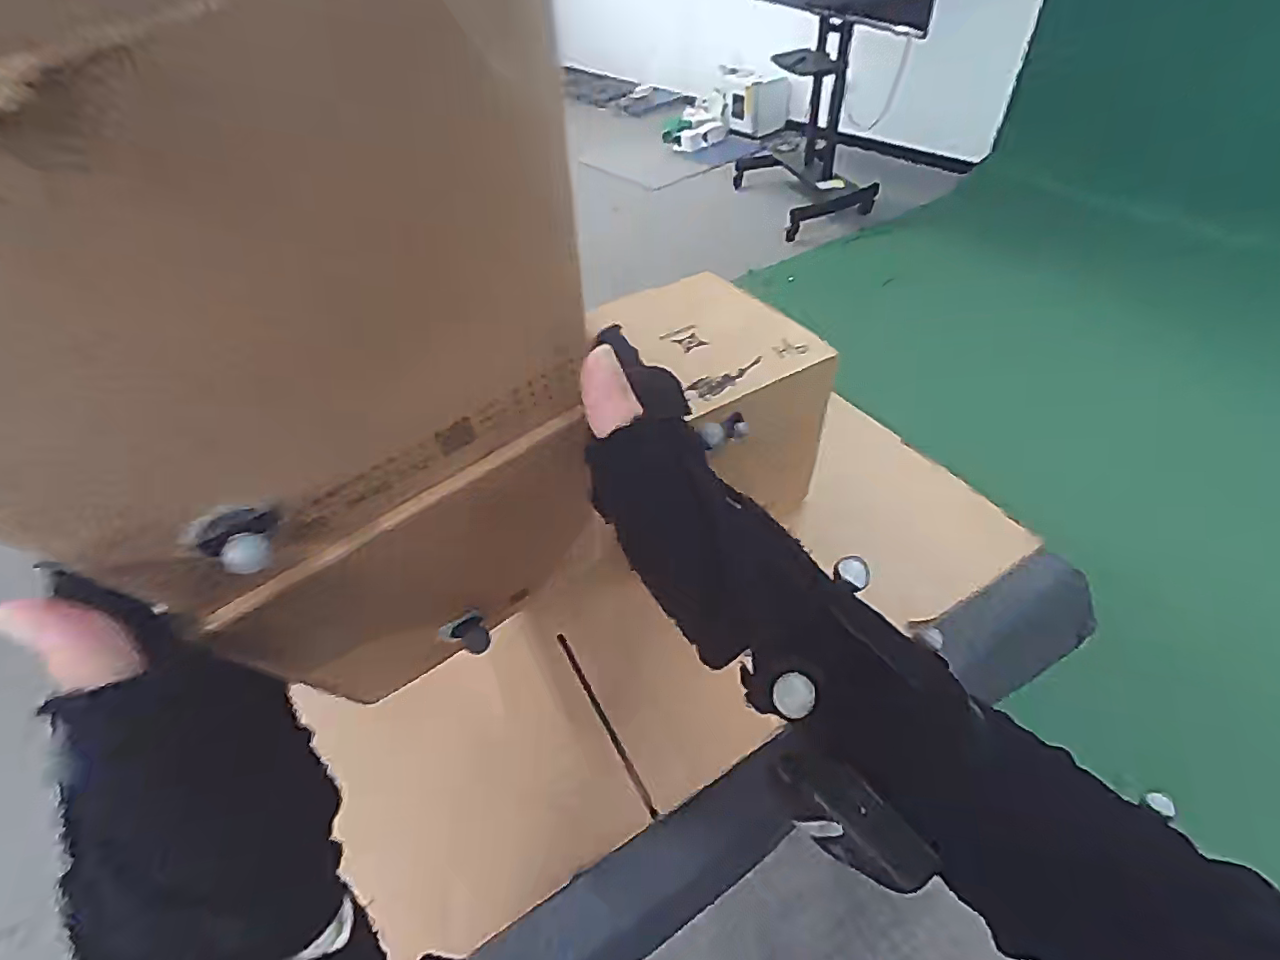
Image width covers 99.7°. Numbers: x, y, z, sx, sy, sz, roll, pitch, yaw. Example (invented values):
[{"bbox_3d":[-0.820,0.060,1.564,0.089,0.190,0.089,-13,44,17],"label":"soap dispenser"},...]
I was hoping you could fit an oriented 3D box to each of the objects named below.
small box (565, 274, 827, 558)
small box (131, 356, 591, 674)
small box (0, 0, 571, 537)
[{"bbox_3d":[0.039,-0.062,0.503,0.168,0.176,0.179,-25,48,-17],"label":"small box"},{"bbox_3d":[-0.142,-0.022,0.300,0.168,0.176,0.179,-33,67,-19],"label":"small box"},{"bbox_3d":[-0.138,-0.102,0.176,0.168,0.176,0.179,-34,65,-19],"label":"small box"}]
